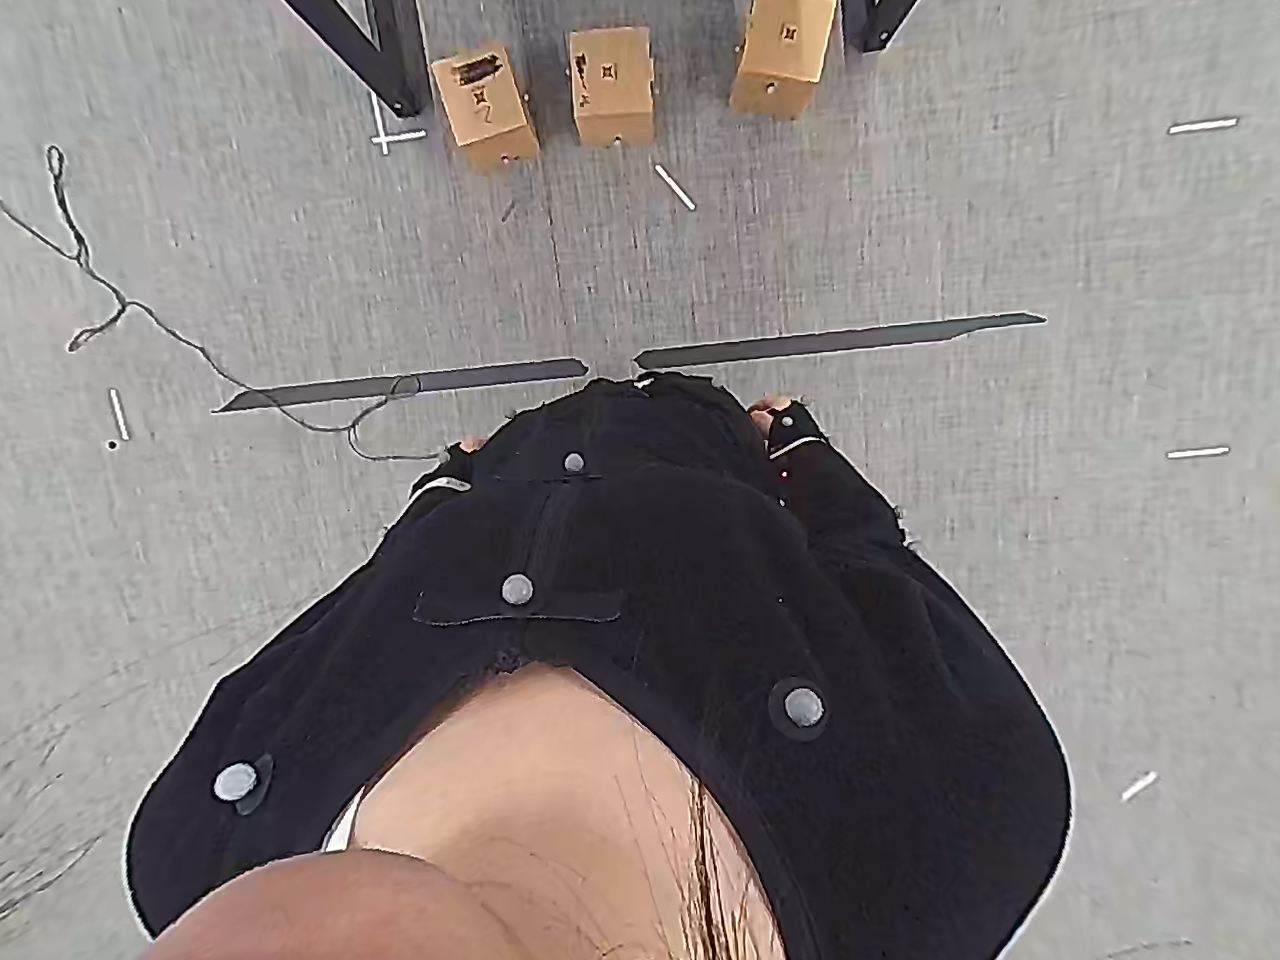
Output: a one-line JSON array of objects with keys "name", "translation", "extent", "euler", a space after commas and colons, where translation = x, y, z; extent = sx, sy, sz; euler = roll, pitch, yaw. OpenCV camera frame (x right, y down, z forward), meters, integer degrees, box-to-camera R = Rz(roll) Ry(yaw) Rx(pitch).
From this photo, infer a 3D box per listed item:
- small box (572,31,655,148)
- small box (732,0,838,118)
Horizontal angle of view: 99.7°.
[{"name": "small box", "translation": [-0.057, -0.889, 1.244], "extent": [0.179, 0.176, 0.168], "euler": [-2, 101, 2]}, {"name": "small box", "translation": [0.318, -0.954, 1.222], "extent": [0.179, 0.176, 0.168], "euler": [11, 102, 1]}]
